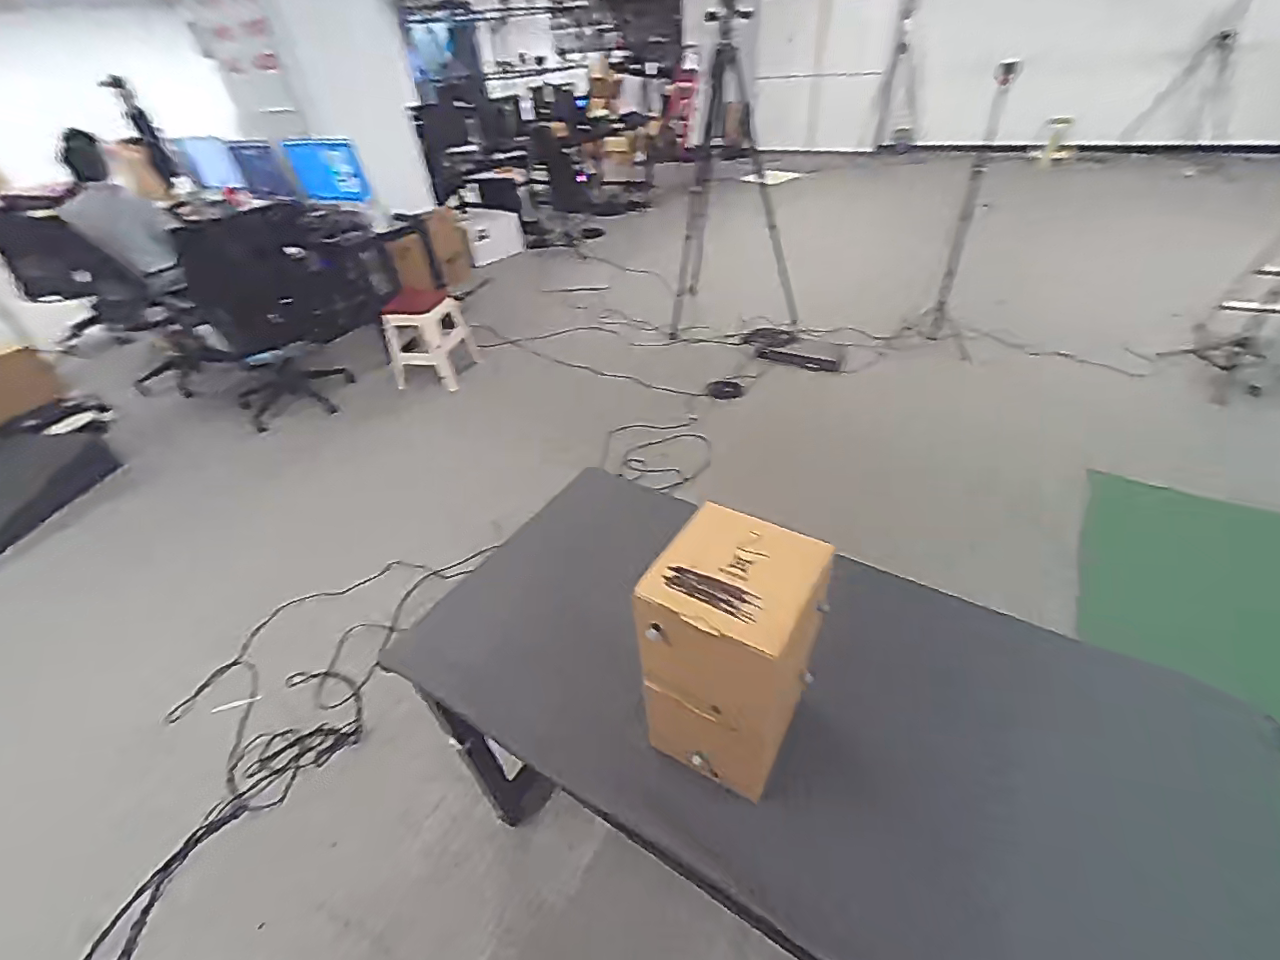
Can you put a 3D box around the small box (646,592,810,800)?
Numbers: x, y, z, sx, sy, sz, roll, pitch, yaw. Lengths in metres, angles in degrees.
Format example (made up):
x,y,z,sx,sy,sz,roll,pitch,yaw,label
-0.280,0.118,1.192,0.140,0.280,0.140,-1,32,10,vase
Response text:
x,y,z,sx,sy,sz,roll,pitch,yaw,label
0.121,0.296,0.755,0.168,0.176,0.179,18,44,26,small box
